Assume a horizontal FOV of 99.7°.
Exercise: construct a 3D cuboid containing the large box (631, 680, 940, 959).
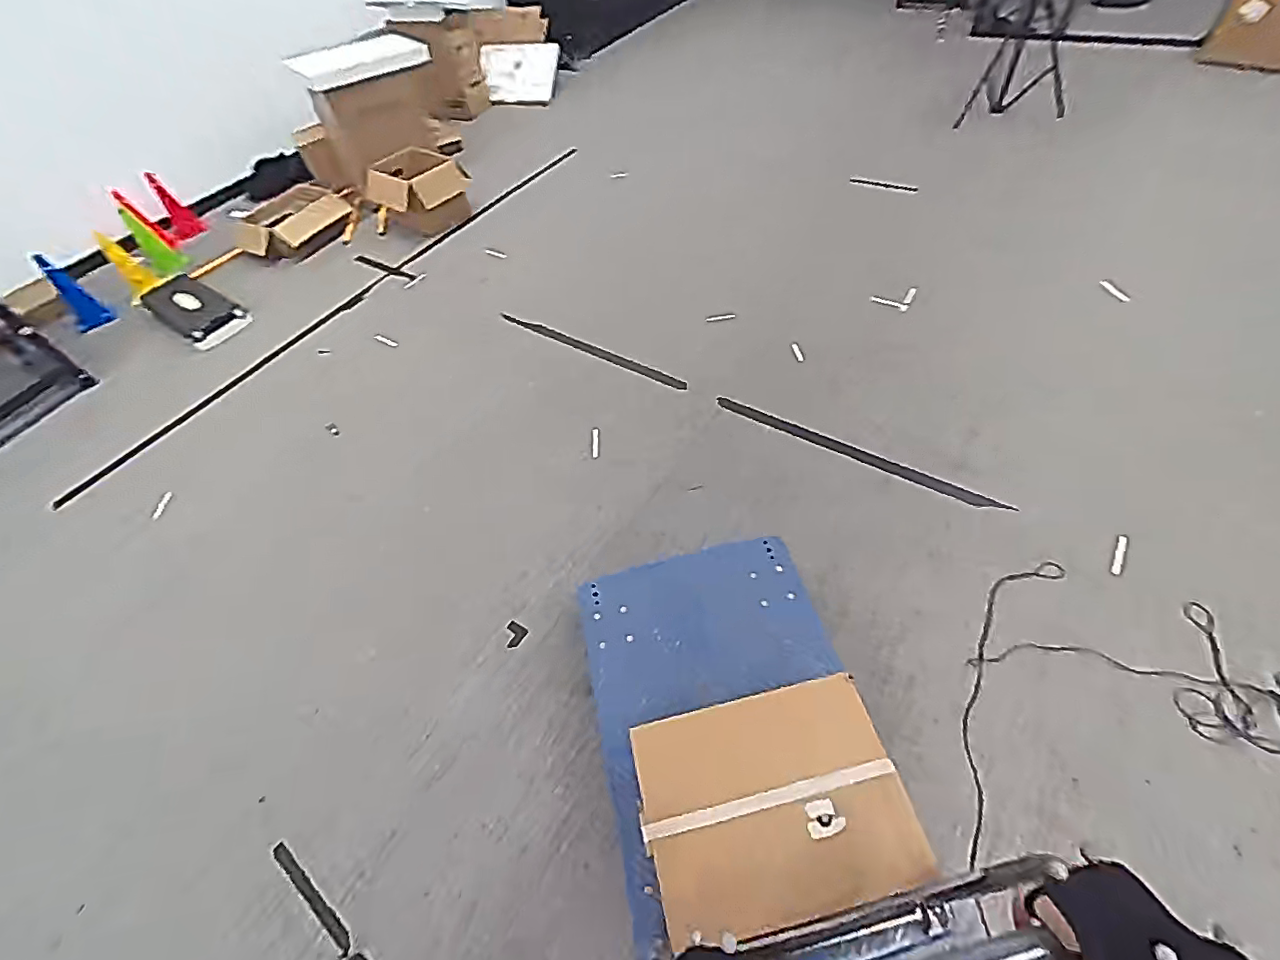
[{"bbox_3d":[0.221,0.607,0.969,0.408,0.320,0.320,-13,53,-3],"label":"large box"}]
